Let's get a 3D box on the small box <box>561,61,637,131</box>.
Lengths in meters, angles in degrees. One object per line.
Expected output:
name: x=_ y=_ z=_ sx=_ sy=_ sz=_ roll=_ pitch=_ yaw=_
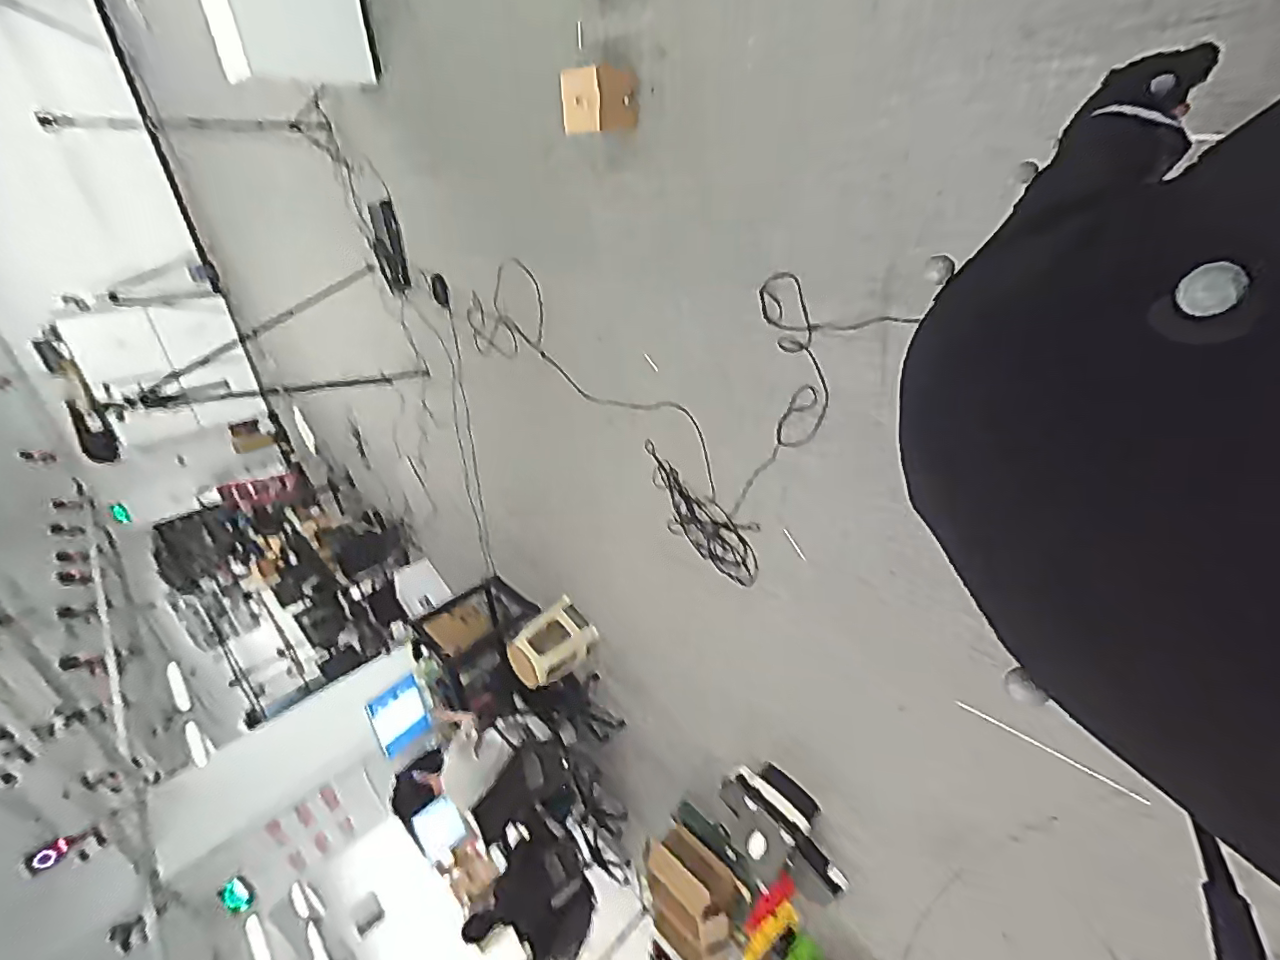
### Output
small box: x=-0.128 y=-1.217 z=1.723 sx=0.179 sy=0.176 sz=0.168 roll=25 pitch=130 yaw=37
